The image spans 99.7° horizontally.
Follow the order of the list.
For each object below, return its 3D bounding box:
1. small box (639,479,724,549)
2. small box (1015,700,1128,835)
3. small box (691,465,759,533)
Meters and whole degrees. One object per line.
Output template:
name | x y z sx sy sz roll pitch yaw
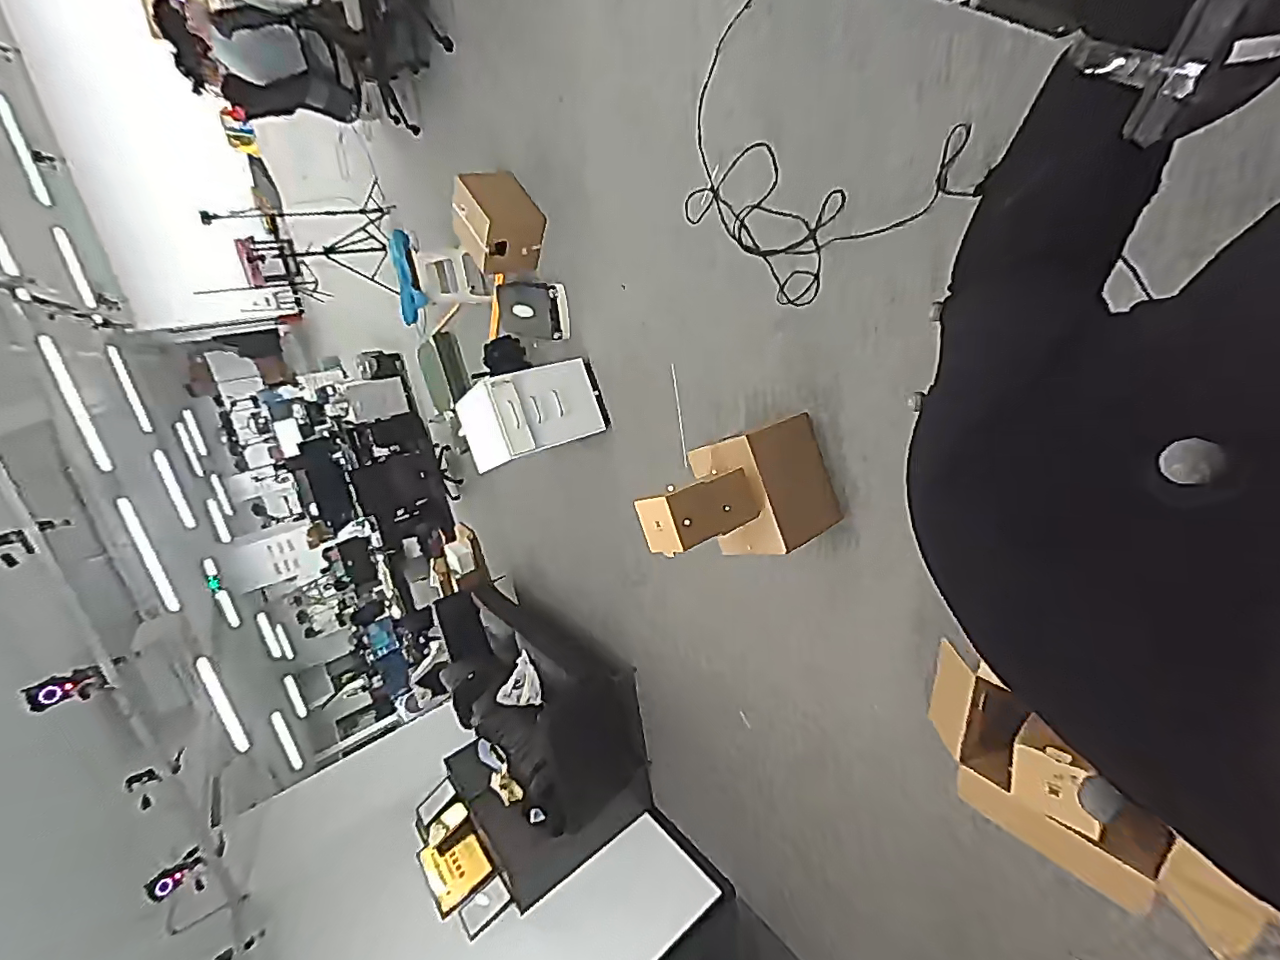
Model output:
small box | 0.132 0.103 1.674 0.168 0.176 0.179 -12 98 56
small box | 0.991 0.650 1.244 0.168 0.176 0.179 13 118 50
small box | 0.262 0.066 1.764 0.168 0.176 0.179 -13 97 56
